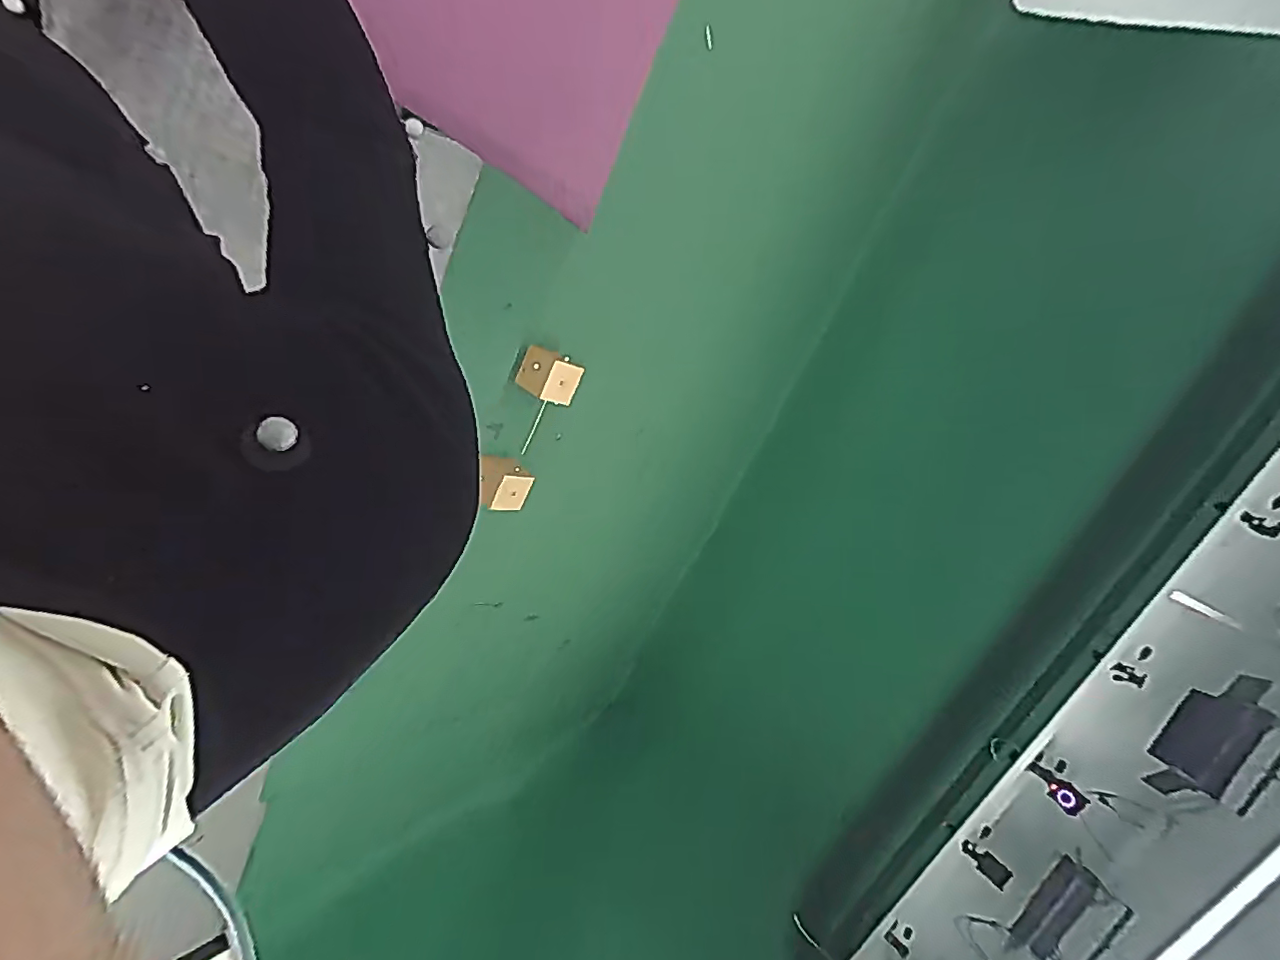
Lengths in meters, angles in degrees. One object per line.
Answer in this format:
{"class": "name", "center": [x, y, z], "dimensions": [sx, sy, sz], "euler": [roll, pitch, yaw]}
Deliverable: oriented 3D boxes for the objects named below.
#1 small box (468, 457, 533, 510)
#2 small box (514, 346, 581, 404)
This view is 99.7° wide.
{"class": "small box", "center": [-0.594, 0.013, 2.297], "dimensions": [0.179, 0.176, 0.168], "euler": [5, 115, -58]}
{"class": "small box", "center": [-0.377, -0.426, 2.182], "dimensions": [0.179, 0.176, 0.168], "euler": [2, 117, -58]}
